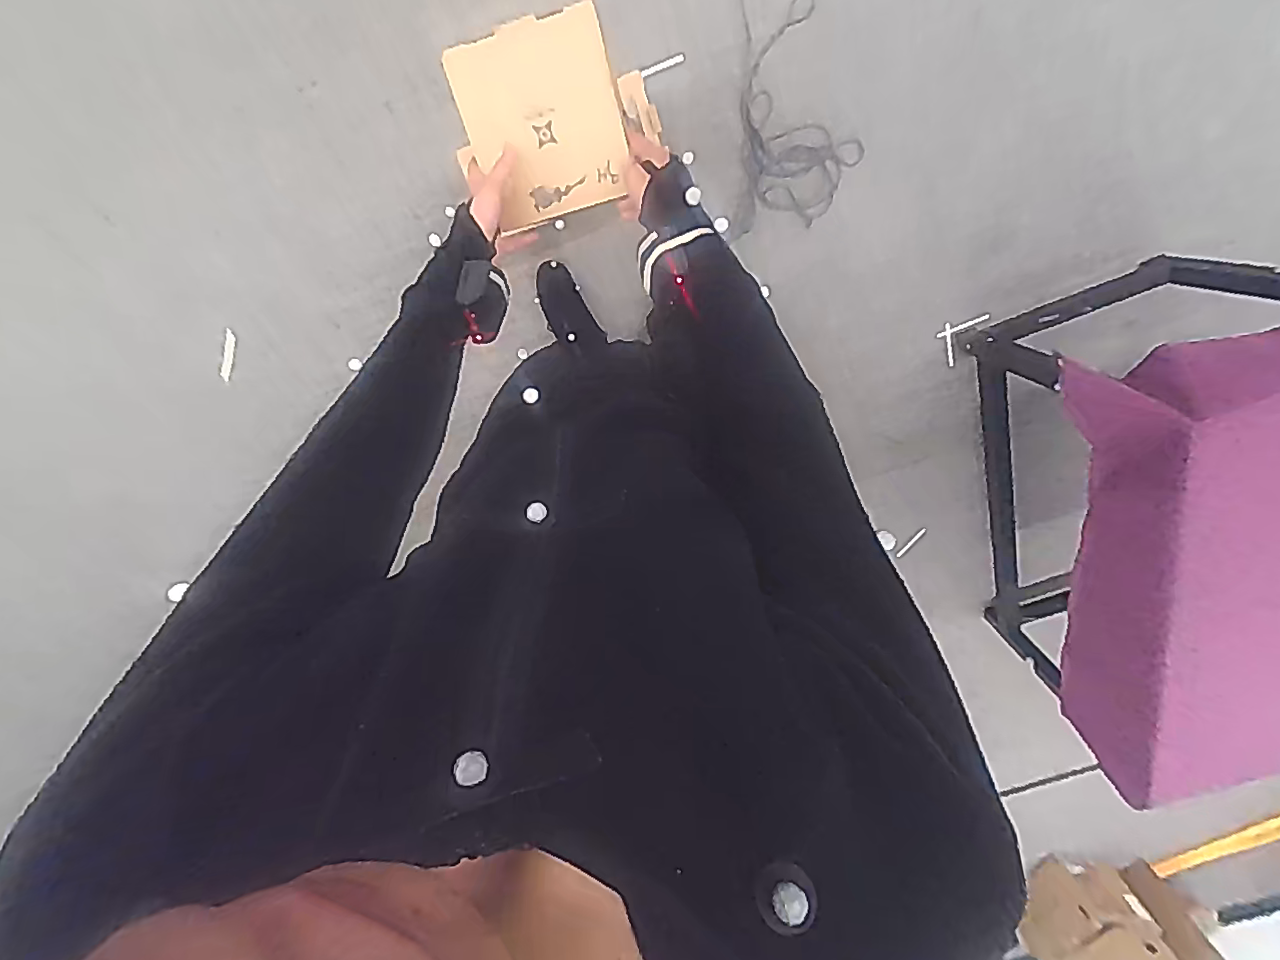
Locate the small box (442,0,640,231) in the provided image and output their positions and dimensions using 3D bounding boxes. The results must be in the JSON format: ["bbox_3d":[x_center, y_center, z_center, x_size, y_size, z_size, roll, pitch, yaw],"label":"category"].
[{"bbox_3d":[-0.100,-0.410,0.639,0.168,0.176,0.179,-12,117,9],"label":"small box"}]

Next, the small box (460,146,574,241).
[{"bbox_3d":[-0.236,-0.607,1.105,0.179,0.176,0.168,-15,118,7],"label":"small box"}]
